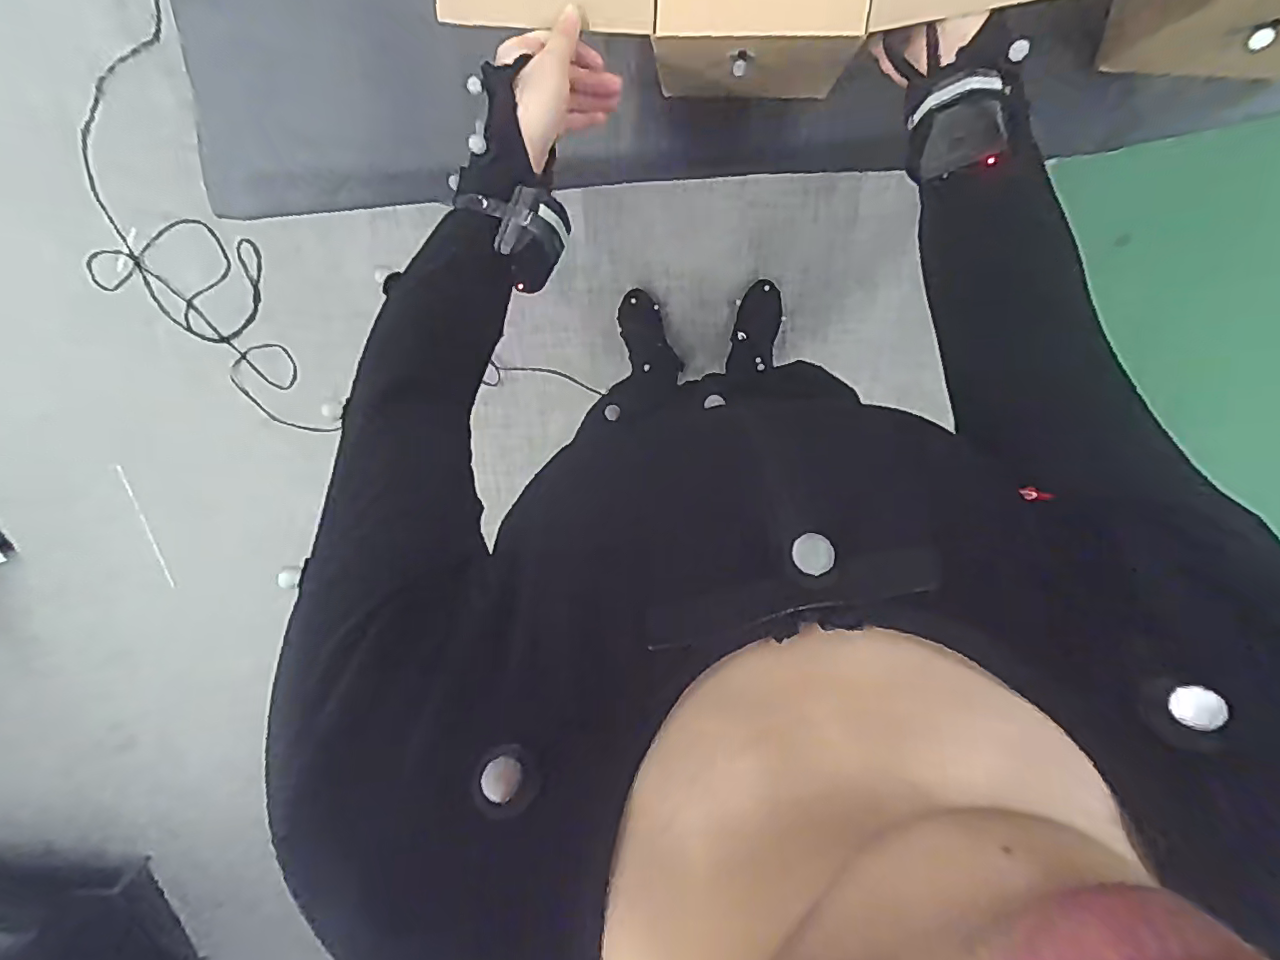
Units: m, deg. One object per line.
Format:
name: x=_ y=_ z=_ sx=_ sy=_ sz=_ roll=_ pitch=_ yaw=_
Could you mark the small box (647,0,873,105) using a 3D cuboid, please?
small box: x=0.106 y=-0.451 z=0.478 sx=0.179 sy=0.176 sz=0.168 roll=5 pitch=112 yaw=5
